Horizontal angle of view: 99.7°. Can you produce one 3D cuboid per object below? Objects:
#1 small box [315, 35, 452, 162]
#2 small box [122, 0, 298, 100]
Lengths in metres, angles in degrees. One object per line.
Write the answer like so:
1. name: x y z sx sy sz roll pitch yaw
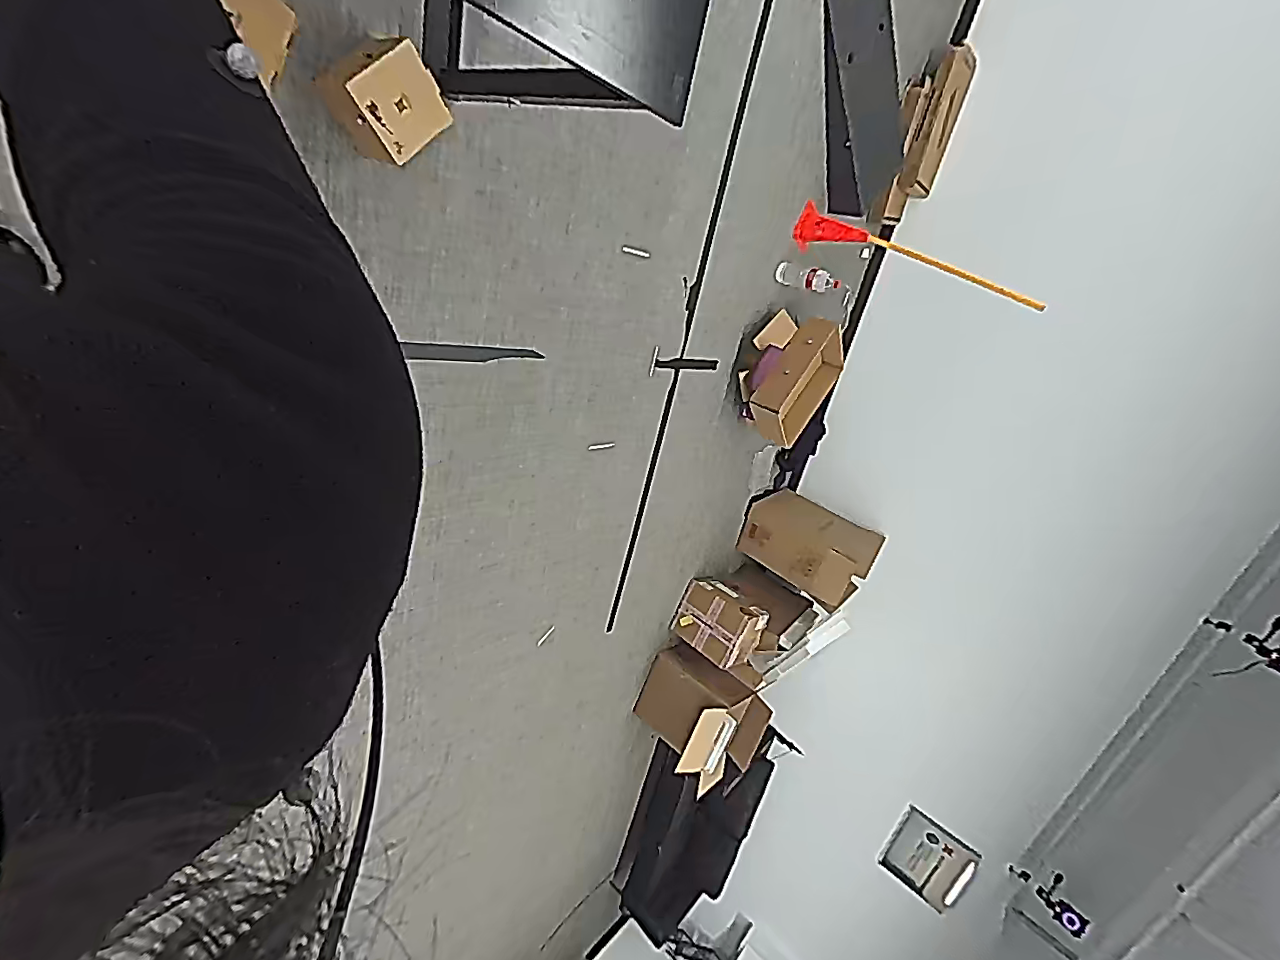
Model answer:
1. small box: -0.555 -0.828 1.173 0.179 0.176 0.168 -51 146 -14
2. small box: -0.745 -0.804 0.938 0.179 0.176 0.168 20 98 -56
